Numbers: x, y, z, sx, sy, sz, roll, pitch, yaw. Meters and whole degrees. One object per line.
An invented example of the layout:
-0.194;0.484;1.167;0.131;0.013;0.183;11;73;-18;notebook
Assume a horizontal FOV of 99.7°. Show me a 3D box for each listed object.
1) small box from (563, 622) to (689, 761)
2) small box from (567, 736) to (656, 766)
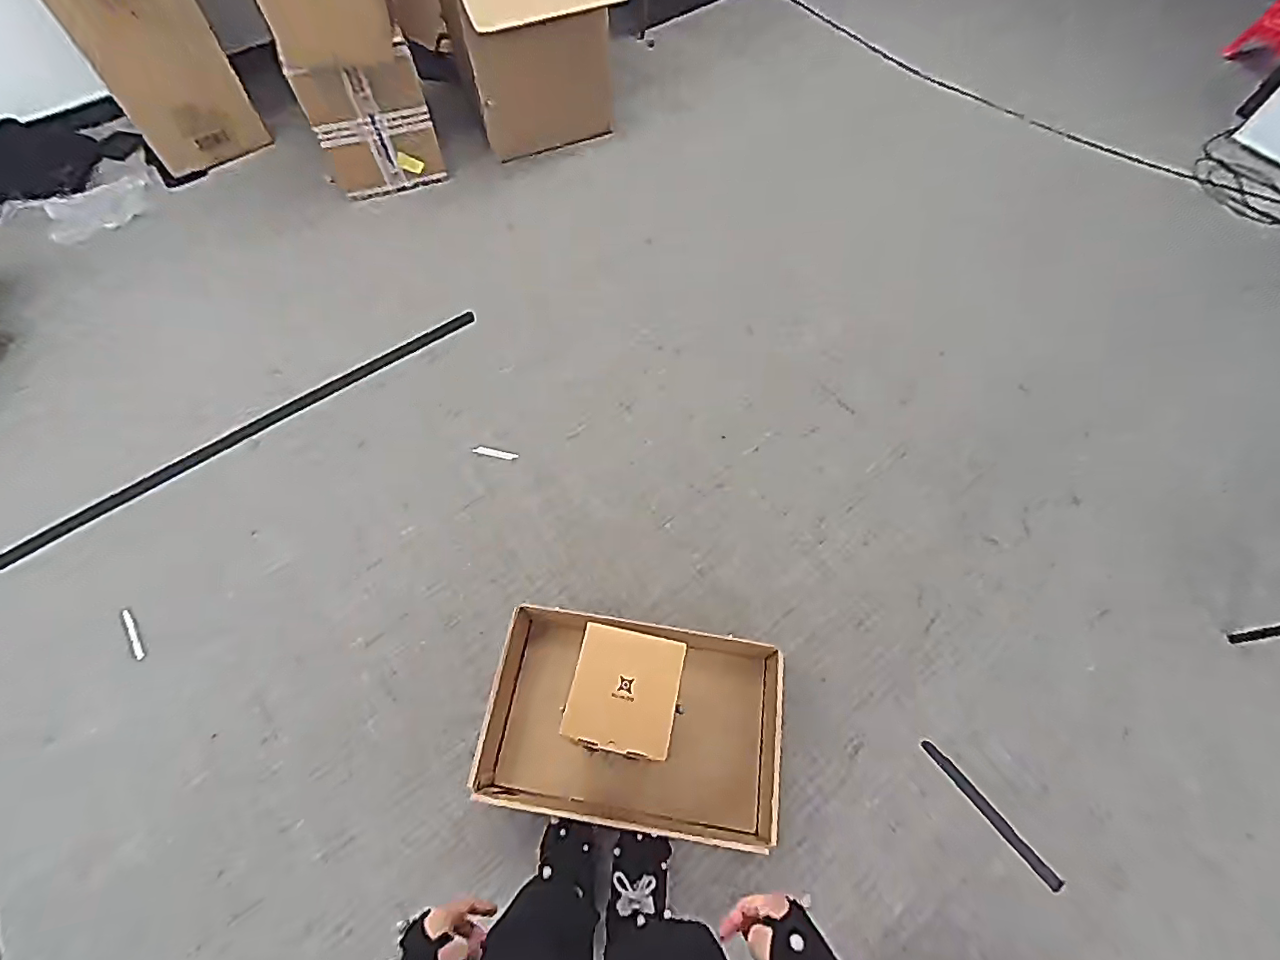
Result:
-0.022;0.358;0.906;0.168;0.176;0.179;12;63;4;small box
-0.032;0.437;1.049;0.168;0.176;0.179;12;64;5;small box
